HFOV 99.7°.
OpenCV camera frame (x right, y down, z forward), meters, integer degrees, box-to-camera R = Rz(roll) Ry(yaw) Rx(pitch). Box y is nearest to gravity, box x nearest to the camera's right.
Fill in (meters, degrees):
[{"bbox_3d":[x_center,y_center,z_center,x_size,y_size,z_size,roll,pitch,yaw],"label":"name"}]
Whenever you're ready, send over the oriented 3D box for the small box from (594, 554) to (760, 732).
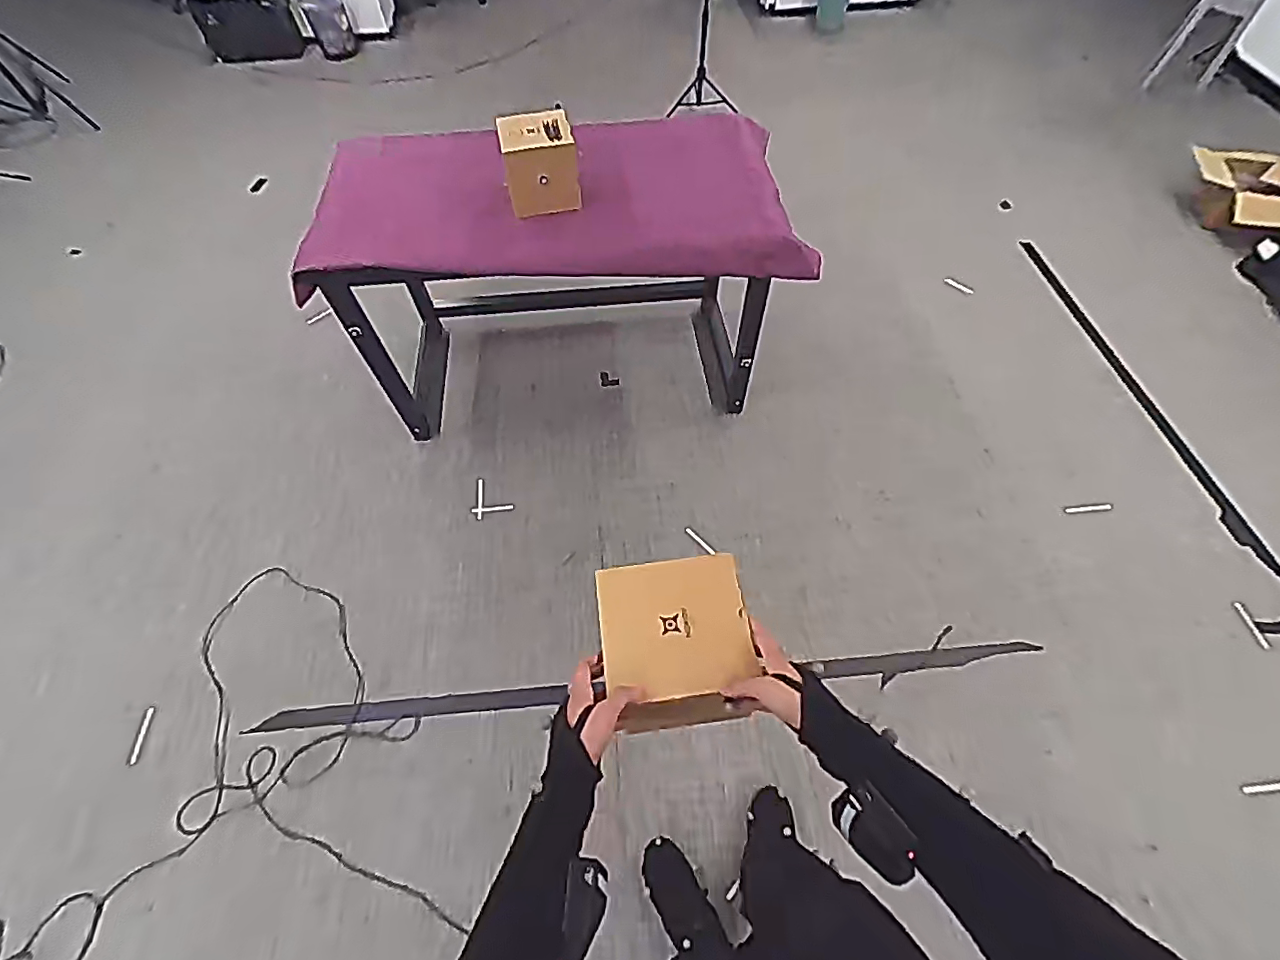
[{"bbox_3d":[0.042,0.215,0.696,0.179,0.176,0.168,-8,56,-2],"label":"small box"}]
